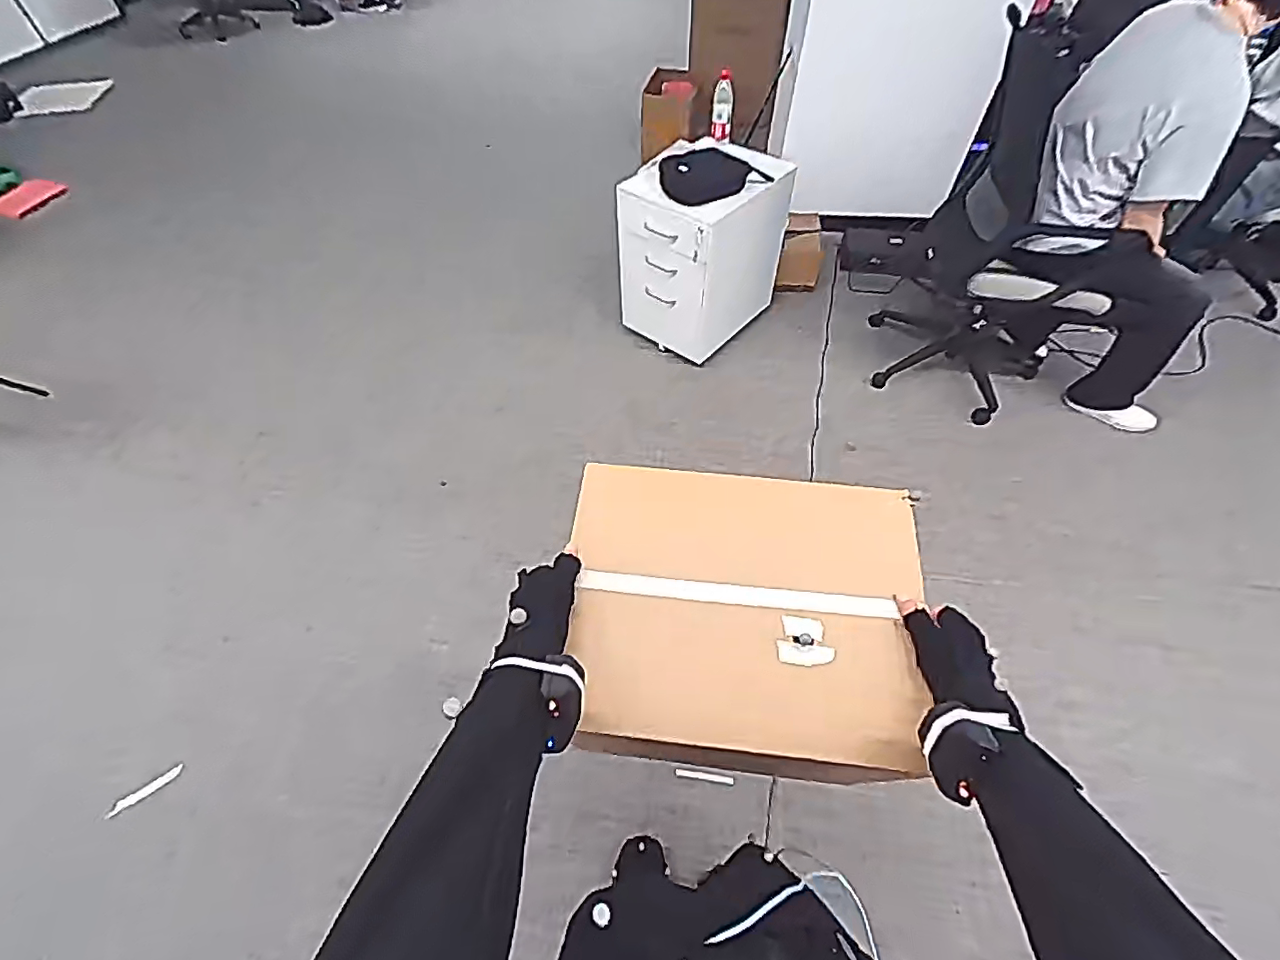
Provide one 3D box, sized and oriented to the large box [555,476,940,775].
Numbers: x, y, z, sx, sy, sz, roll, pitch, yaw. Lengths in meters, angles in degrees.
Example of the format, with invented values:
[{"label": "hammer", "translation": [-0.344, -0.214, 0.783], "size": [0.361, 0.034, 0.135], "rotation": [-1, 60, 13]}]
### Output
[{"label": "large box", "translation": [0.120, 0.215, 0.755], "size": [0.408, 0.320, 0.320], "rotation": [5, 61, 3]}]
